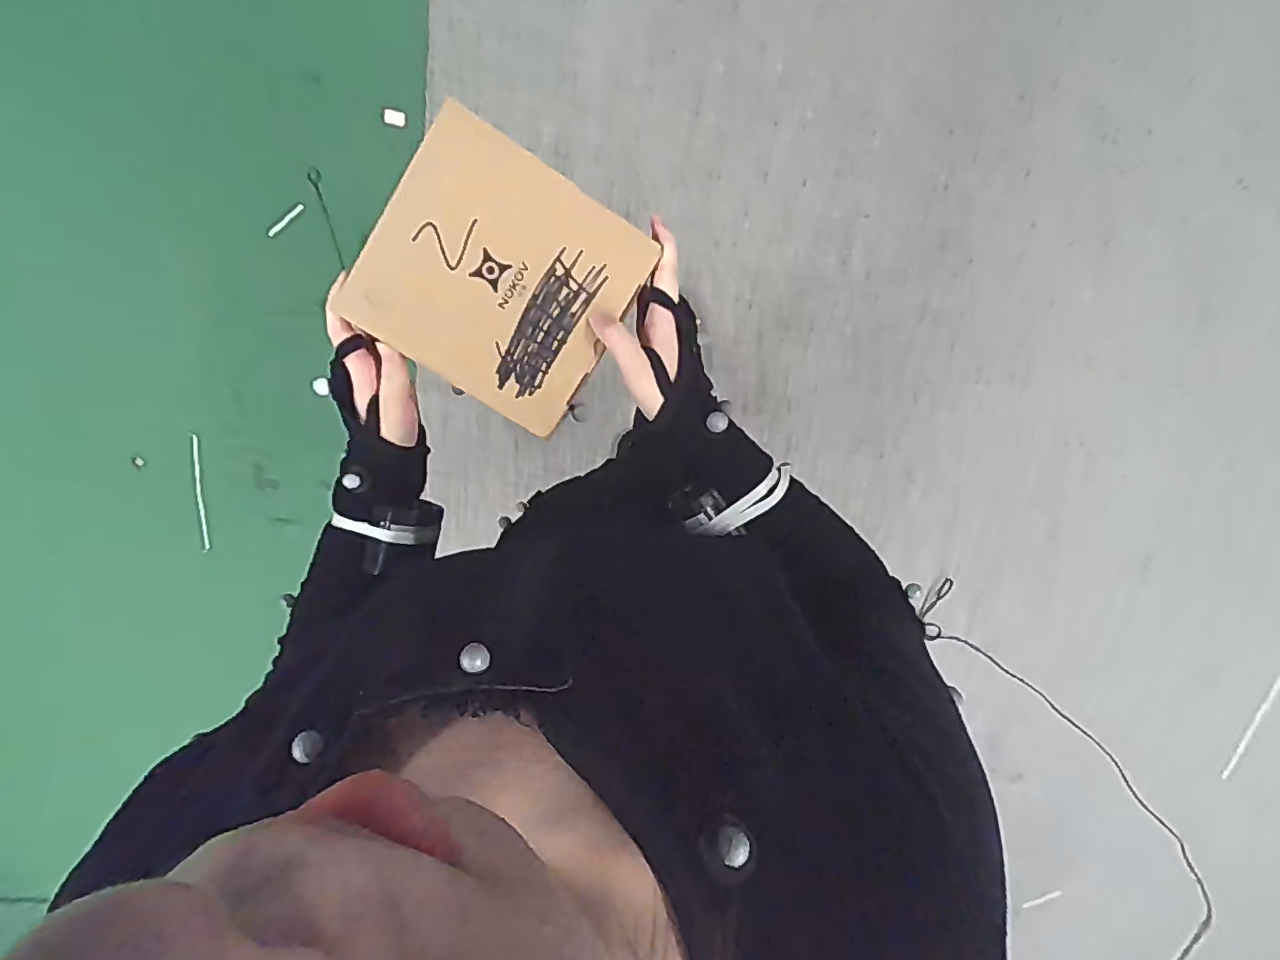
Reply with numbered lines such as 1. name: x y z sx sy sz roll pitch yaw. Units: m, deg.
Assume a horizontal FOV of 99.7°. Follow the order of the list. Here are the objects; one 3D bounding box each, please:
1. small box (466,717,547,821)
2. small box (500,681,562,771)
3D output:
1. small box: -0.366 0.798 1.509 0.168 0.176 0.179 15 107 0
2. small box: -0.350 0.757 1.668 0.168 0.176 0.179 18 109 -1
